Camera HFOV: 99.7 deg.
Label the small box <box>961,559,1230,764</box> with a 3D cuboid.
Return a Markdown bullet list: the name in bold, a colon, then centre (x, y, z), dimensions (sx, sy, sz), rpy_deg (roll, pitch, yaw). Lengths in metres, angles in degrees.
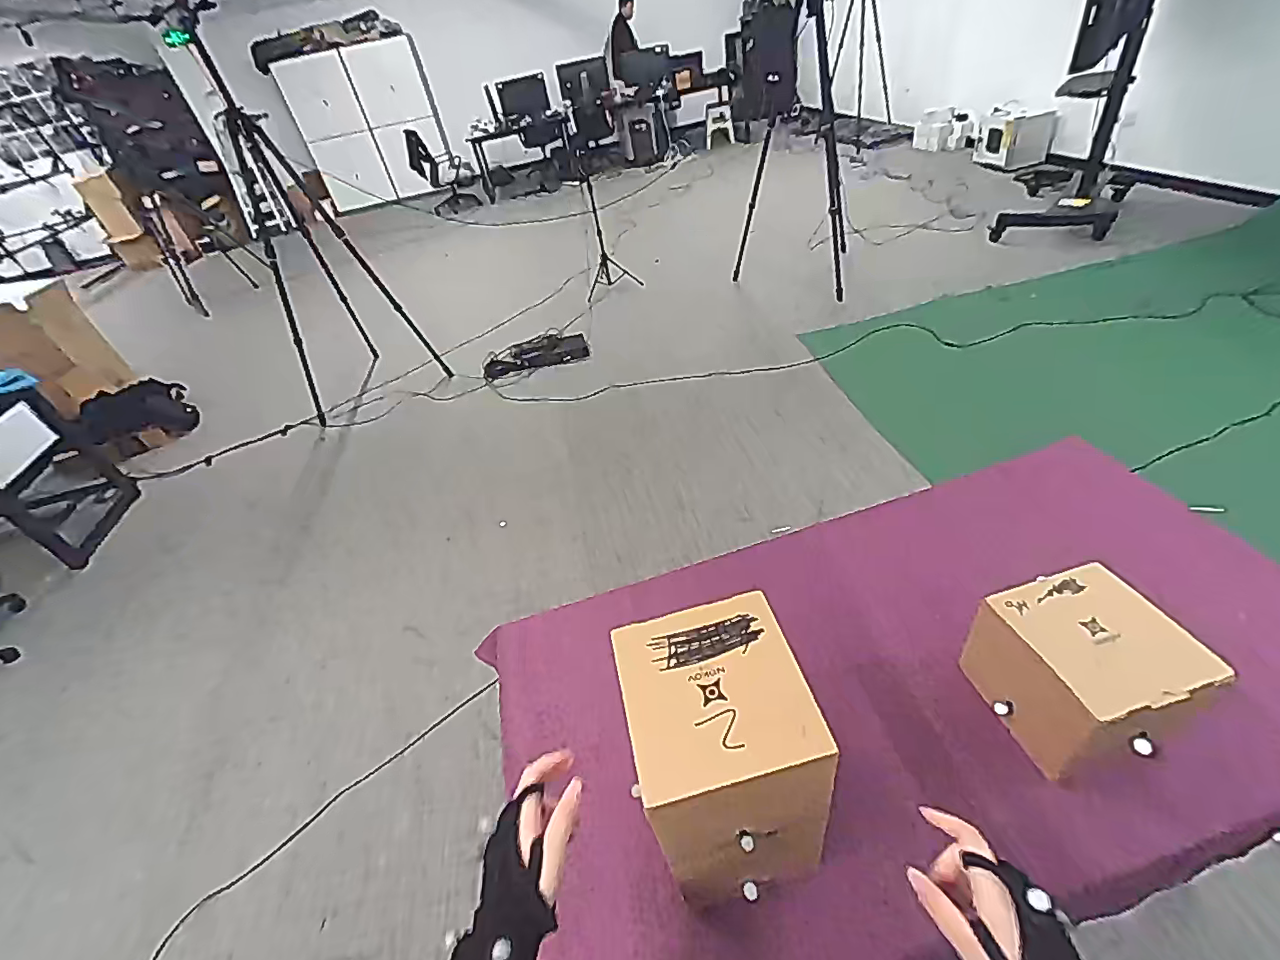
- **small box**: centre (0.554, 0.237, 0.691), dimensions (0.168, 0.176, 0.179), rpy_deg (-16, 41, -4)

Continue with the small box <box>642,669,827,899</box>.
- **small box**: centre (0.107, 0.368, 0.658), dimensions (0.168, 0.176, 0.179), rpy_deg (-15, 41, -3)
